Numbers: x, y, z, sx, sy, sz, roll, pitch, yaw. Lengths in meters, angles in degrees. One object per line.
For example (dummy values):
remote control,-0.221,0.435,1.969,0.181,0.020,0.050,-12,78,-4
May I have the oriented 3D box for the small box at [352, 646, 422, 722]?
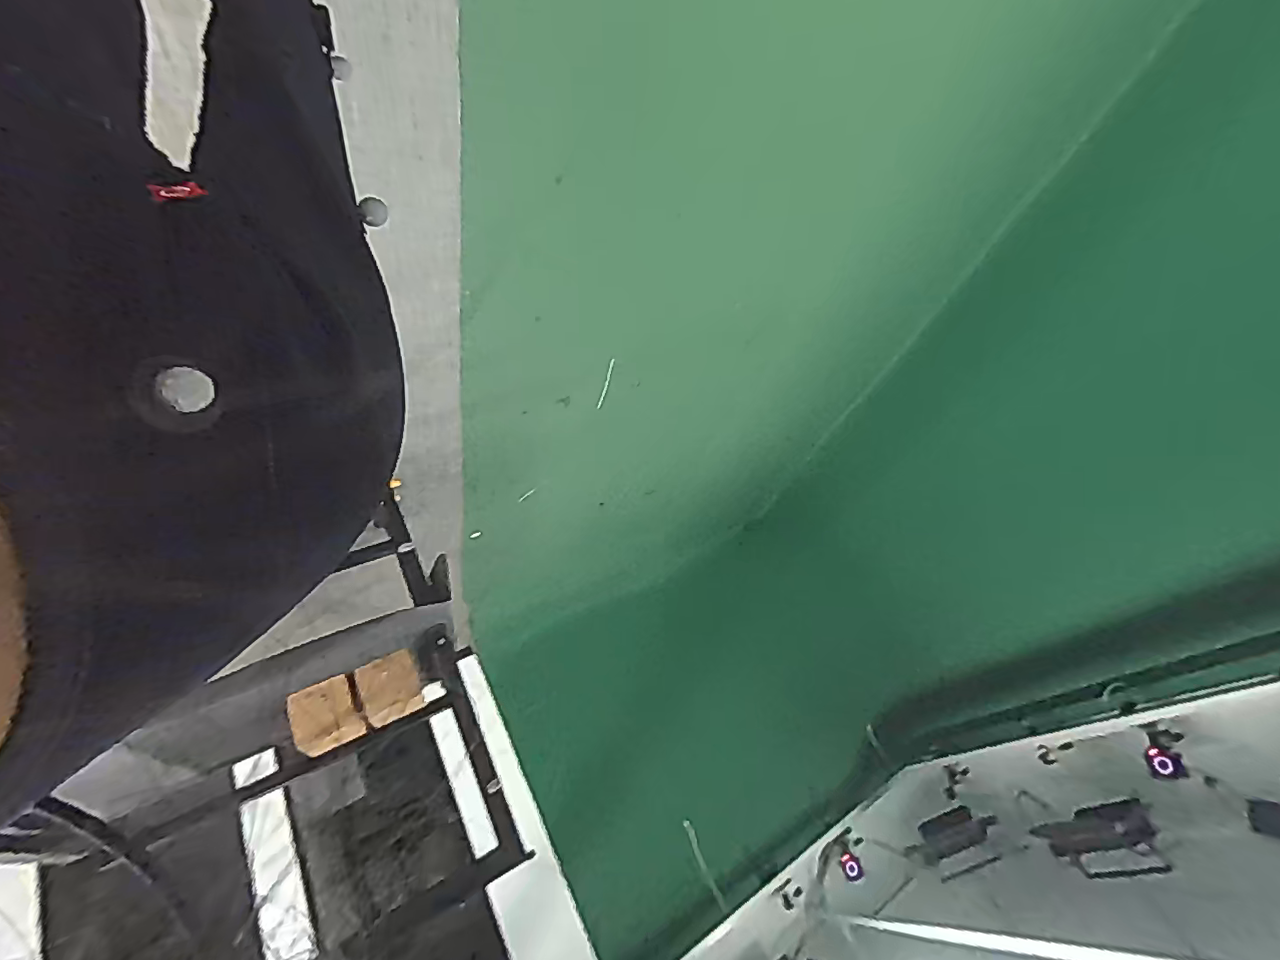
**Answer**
small box,-0.841,0.677,1.803,0.168,0.176,0.179,-19,154,-25
